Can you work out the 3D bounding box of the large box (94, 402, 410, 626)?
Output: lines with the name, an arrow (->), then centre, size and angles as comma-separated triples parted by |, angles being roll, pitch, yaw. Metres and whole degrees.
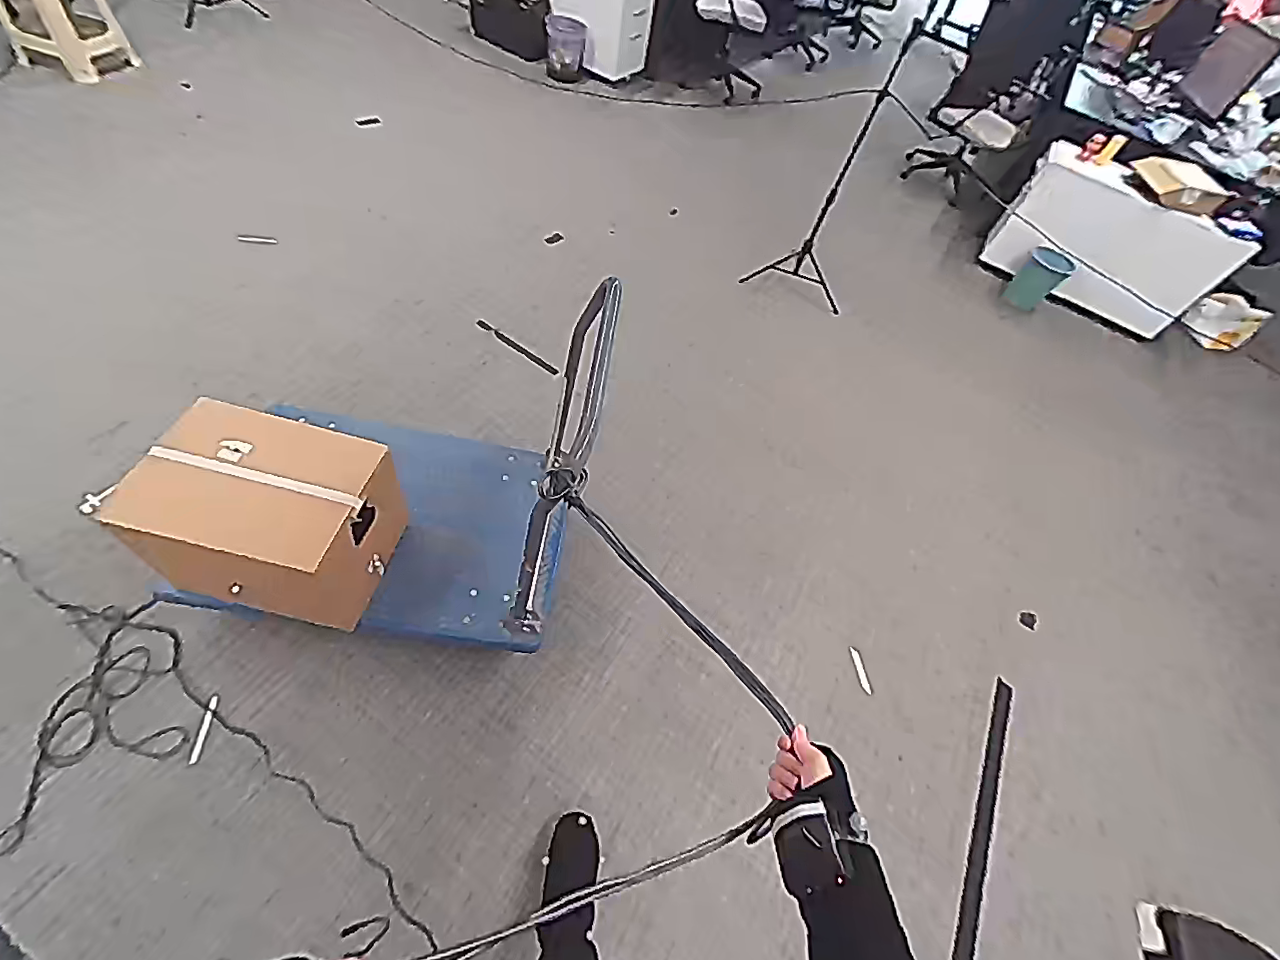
large box -> -0.775, 0.086, 1.172 | 0.408, 0.320, 0.320 | 14, 52, -3
